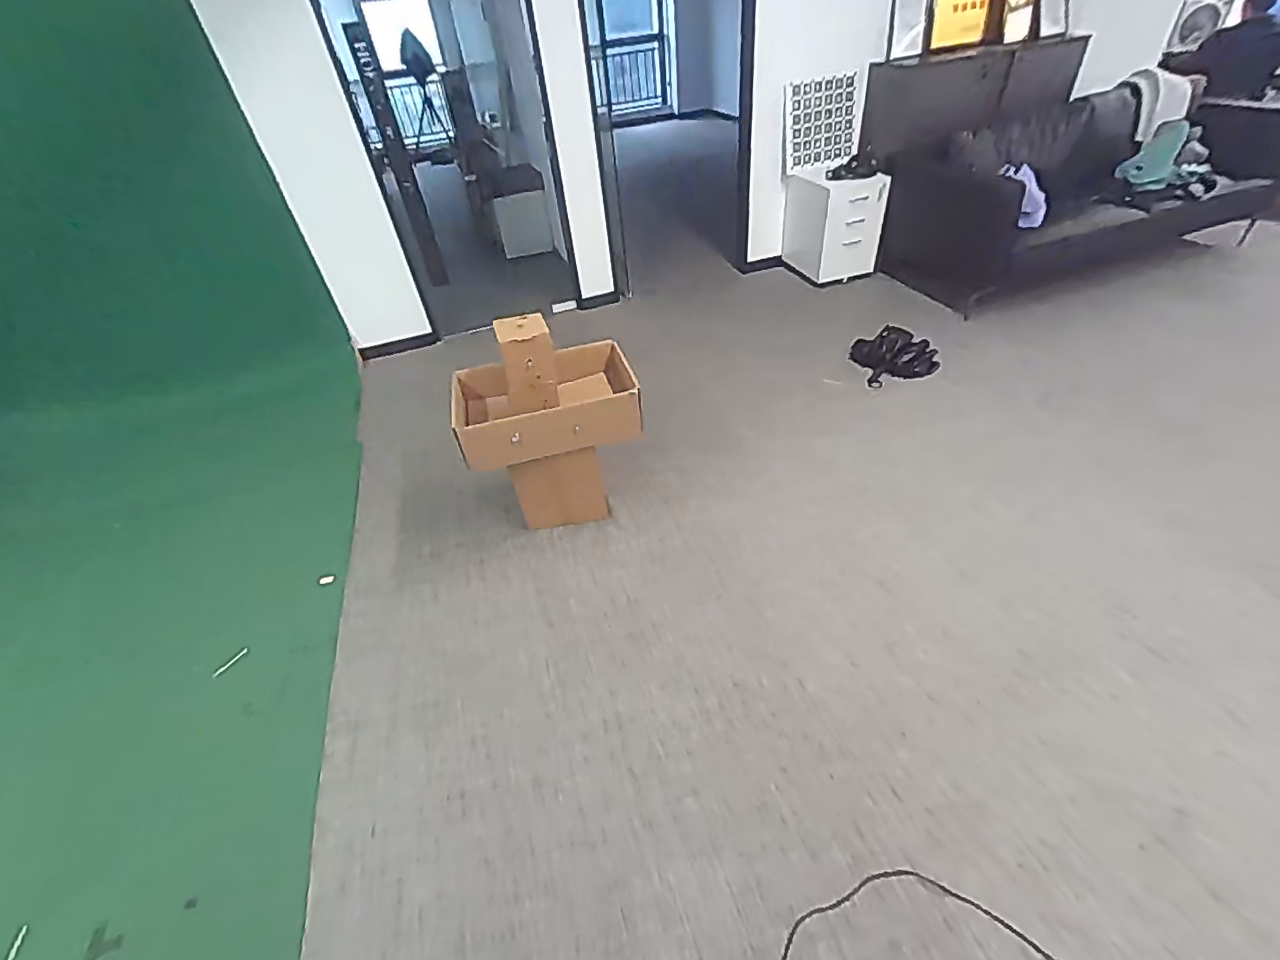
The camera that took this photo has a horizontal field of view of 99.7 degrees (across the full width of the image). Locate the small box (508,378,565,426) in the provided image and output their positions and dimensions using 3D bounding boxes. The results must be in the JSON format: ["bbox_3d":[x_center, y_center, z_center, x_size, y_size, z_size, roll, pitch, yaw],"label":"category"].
[{"bbox_3d":[-0.368,-0.303,1.923,0.168,0.176,0.179,-12,39,-10],"label":"small box"}]

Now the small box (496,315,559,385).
[{"bbox_3d":[-0.378,-0.433,1.823,0.168,0.176,0.179,-14,42,-12],"label":"small box"}]
